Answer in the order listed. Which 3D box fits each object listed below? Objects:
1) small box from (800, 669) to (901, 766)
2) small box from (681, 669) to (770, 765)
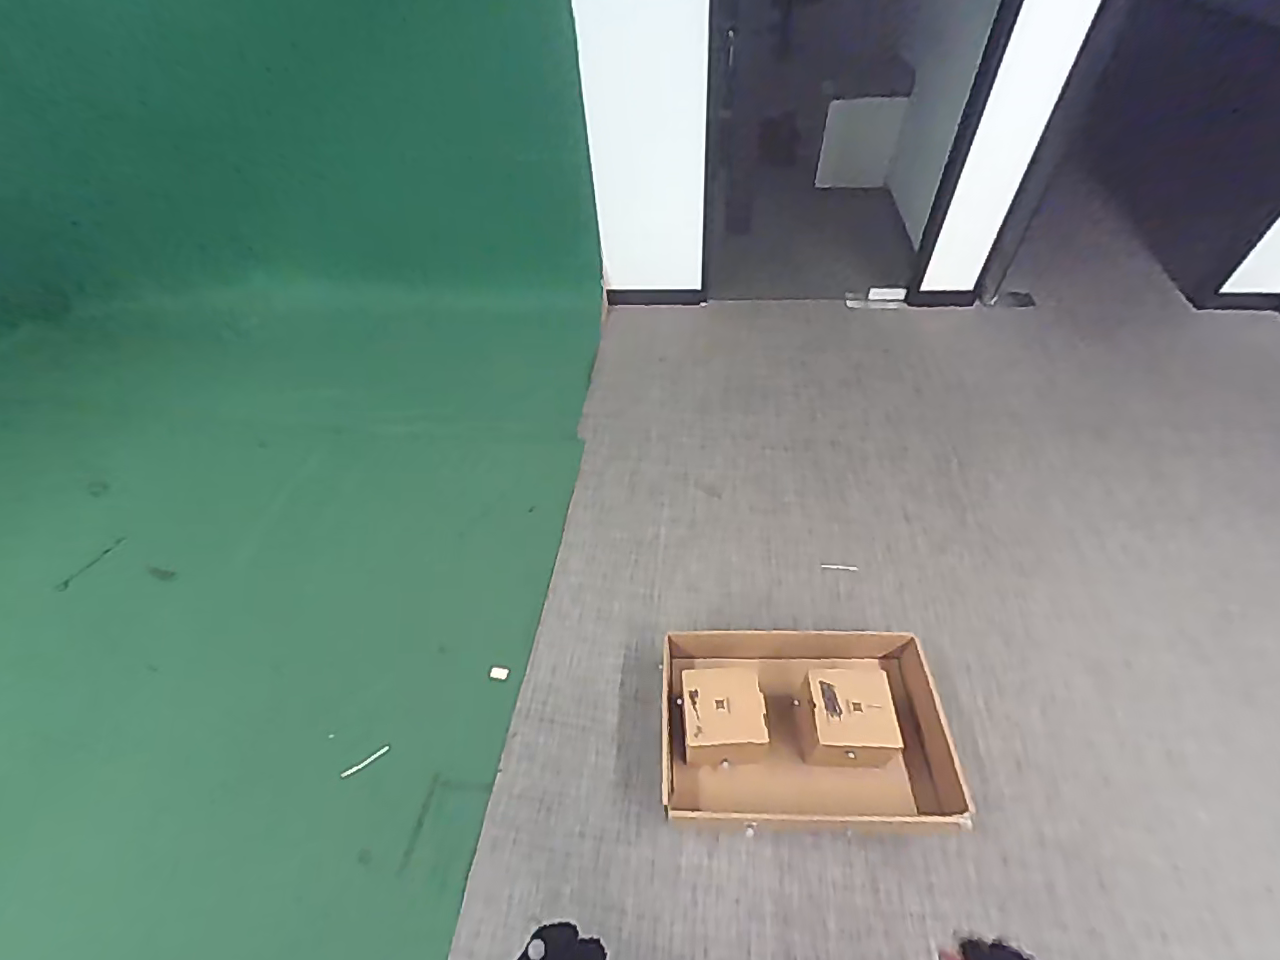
[{"bbox_3d":[0.471,0.548,1.243,0.179,0.176,0.168,0,50,5],"label":"small box"},{"bbox_3d":[0.191,0.554,1.261,0.179,0.176,0.168,-2,49,1],"label":"small box"}]
